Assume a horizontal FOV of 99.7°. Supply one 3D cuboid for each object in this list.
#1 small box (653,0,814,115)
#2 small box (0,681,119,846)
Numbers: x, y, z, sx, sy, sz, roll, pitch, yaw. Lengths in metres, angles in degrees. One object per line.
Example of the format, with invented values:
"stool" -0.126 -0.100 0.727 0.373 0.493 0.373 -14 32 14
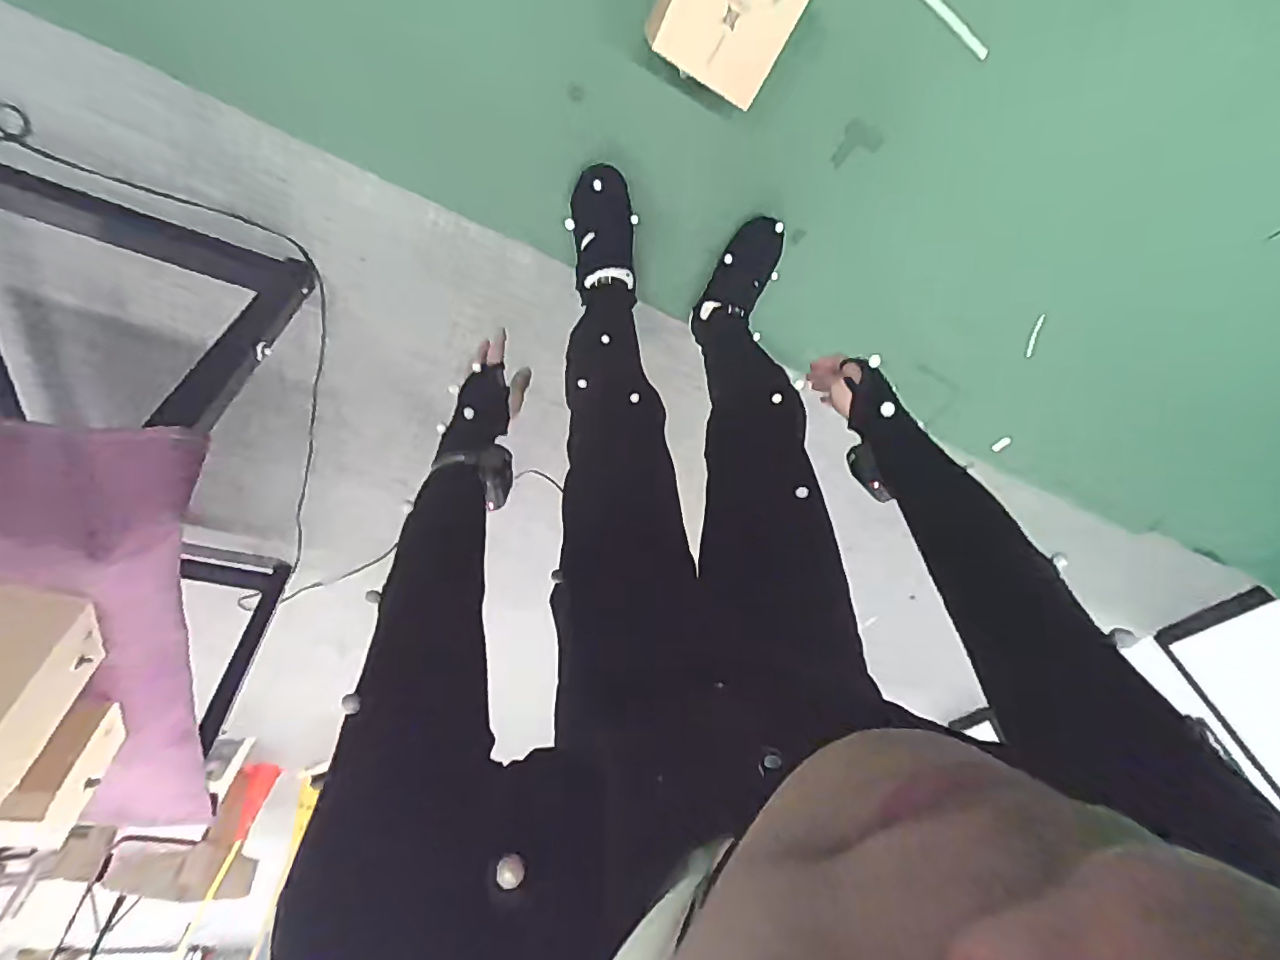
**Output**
"small box" 0.128 -0.683 0.785 0.168 0.176 0.179 19 132 -21
"small box" -0.902 0.409 0.780 0.179 0.176 0.168 21 130 -22
